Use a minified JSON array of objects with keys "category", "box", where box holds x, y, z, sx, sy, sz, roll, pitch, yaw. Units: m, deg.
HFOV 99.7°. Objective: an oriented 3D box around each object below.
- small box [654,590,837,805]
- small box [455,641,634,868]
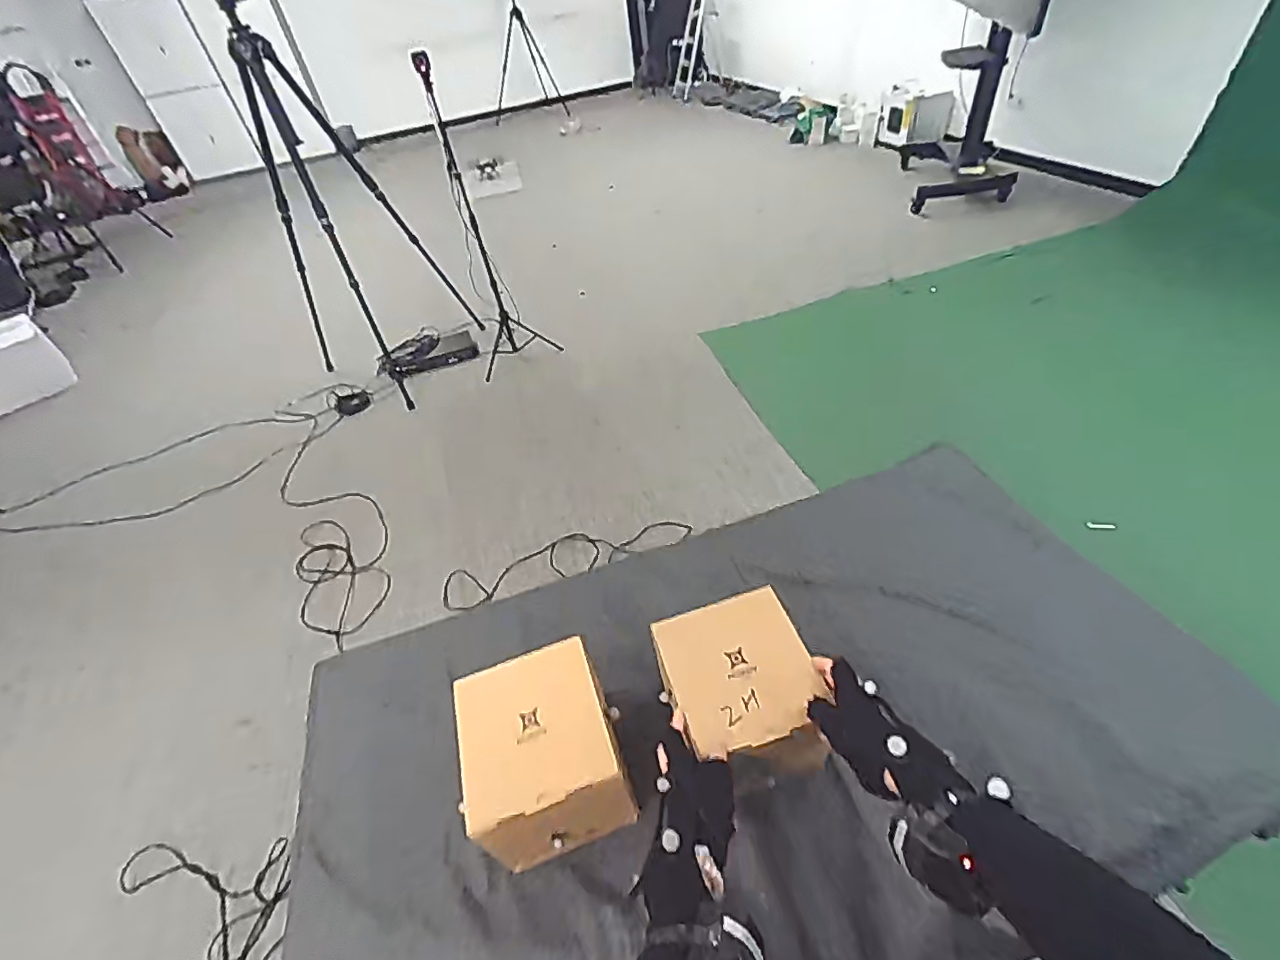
[{"category":"small box","box":[0.123,0.276,0.689,0.168,0.176,0.179,-16,44,-6]},{"category":"small box","box":[-0.116,0.339,0.671,0.168,0.176,0.179,-18,45,-9]}]
